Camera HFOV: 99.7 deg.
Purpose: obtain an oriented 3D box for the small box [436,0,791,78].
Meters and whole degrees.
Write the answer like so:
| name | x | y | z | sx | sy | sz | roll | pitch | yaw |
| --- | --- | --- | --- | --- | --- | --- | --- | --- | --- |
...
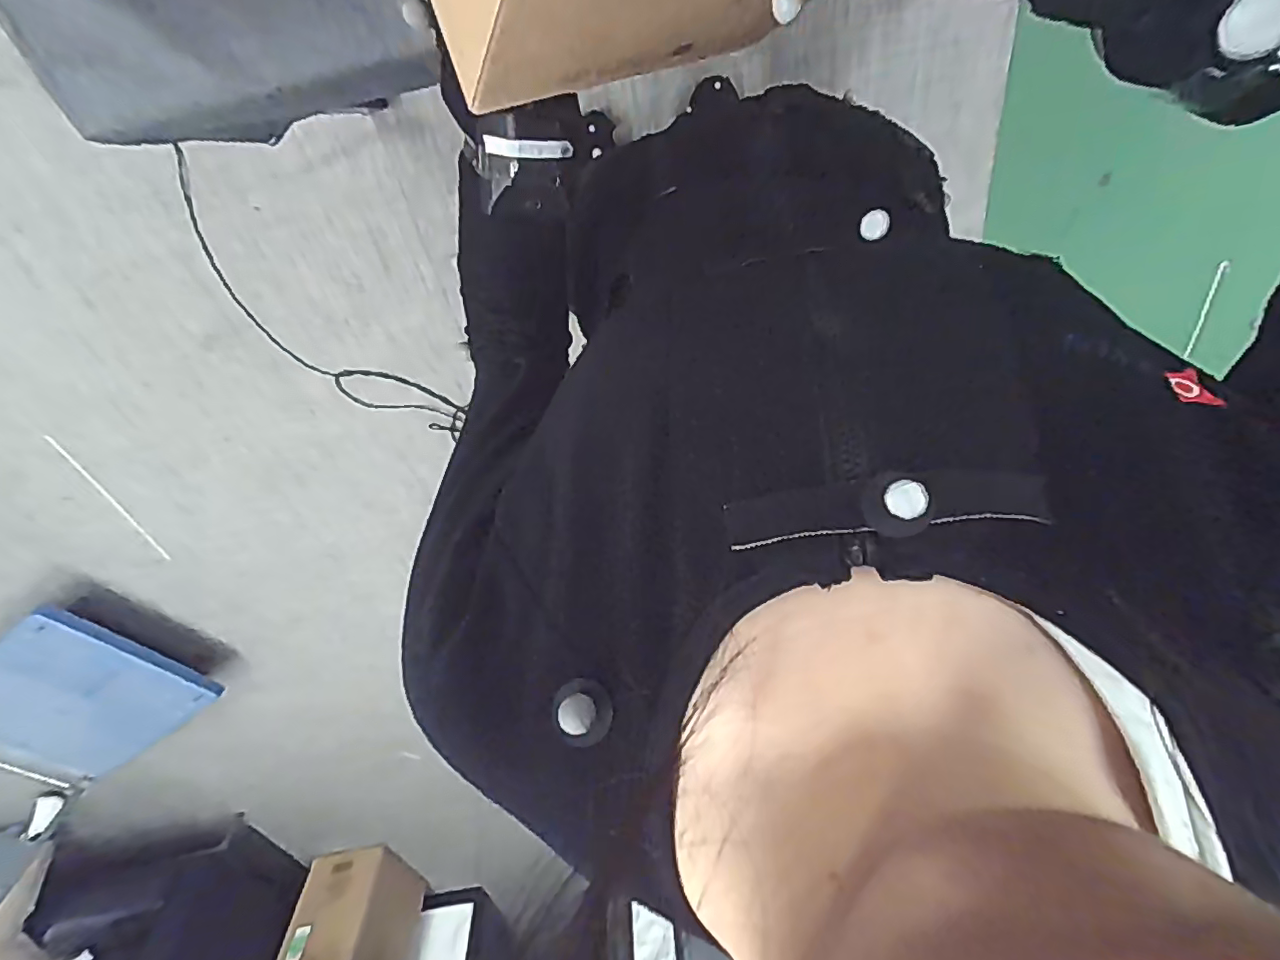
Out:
| name | x | y | z | sx | sy | sz | roll | pitch | yaw |
| --- | --- | --- | --- | --- | --- | --- | --- | --- | --- |
| small box | -0.002 | -0.261 | 0.170 | 0.168 | 0.176 | 0.179 | -24 | 114 | -15 |
